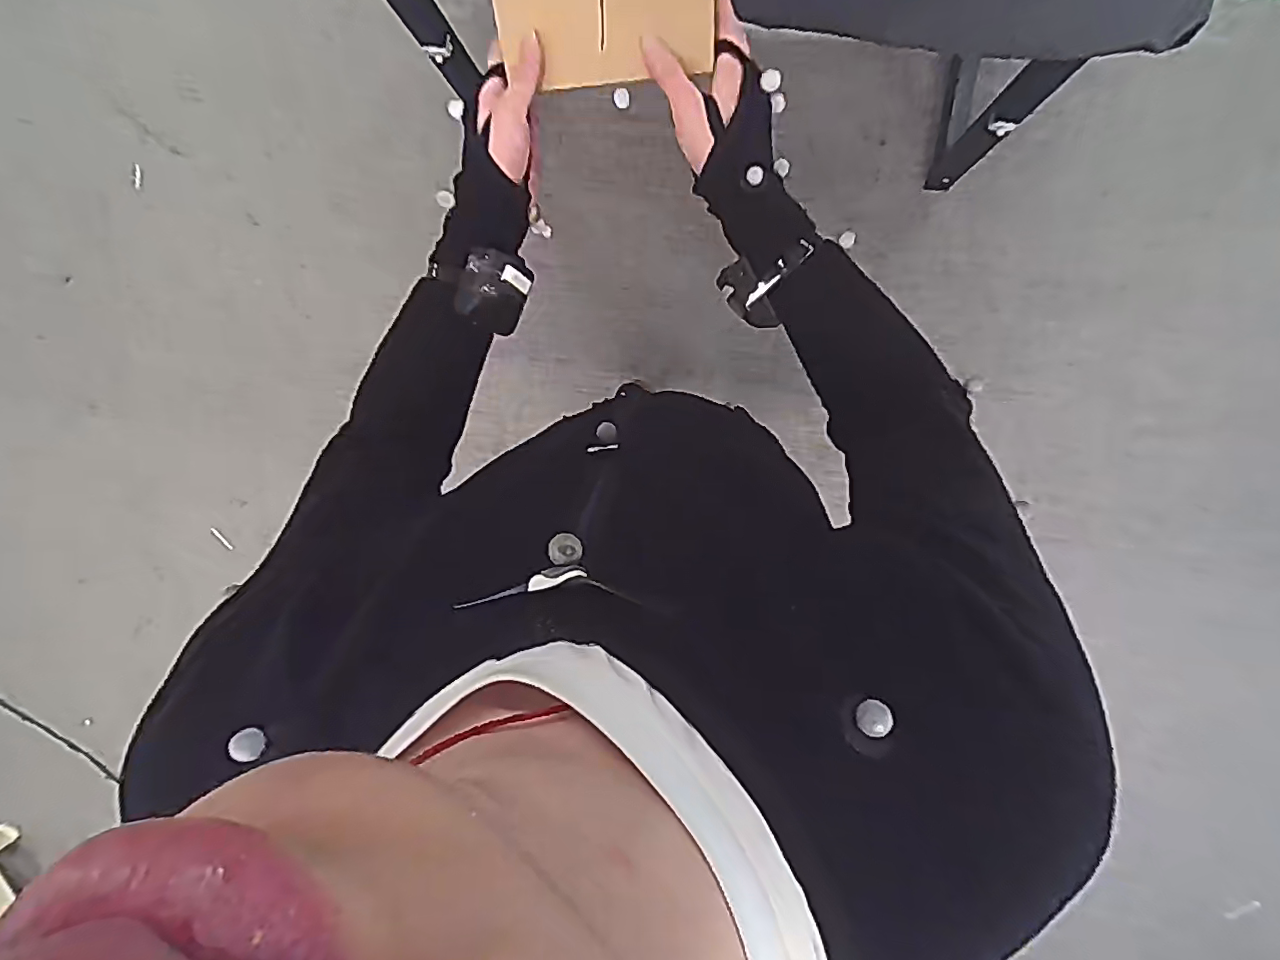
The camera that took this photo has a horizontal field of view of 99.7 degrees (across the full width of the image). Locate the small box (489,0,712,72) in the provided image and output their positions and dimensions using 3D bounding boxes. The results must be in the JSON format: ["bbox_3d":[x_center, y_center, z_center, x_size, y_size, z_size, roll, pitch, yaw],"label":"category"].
[{"bbox_3d":[-0.027,-0.438,0.427,0.168,0.176,0.179,0,127,7],"label":"small box"}]
